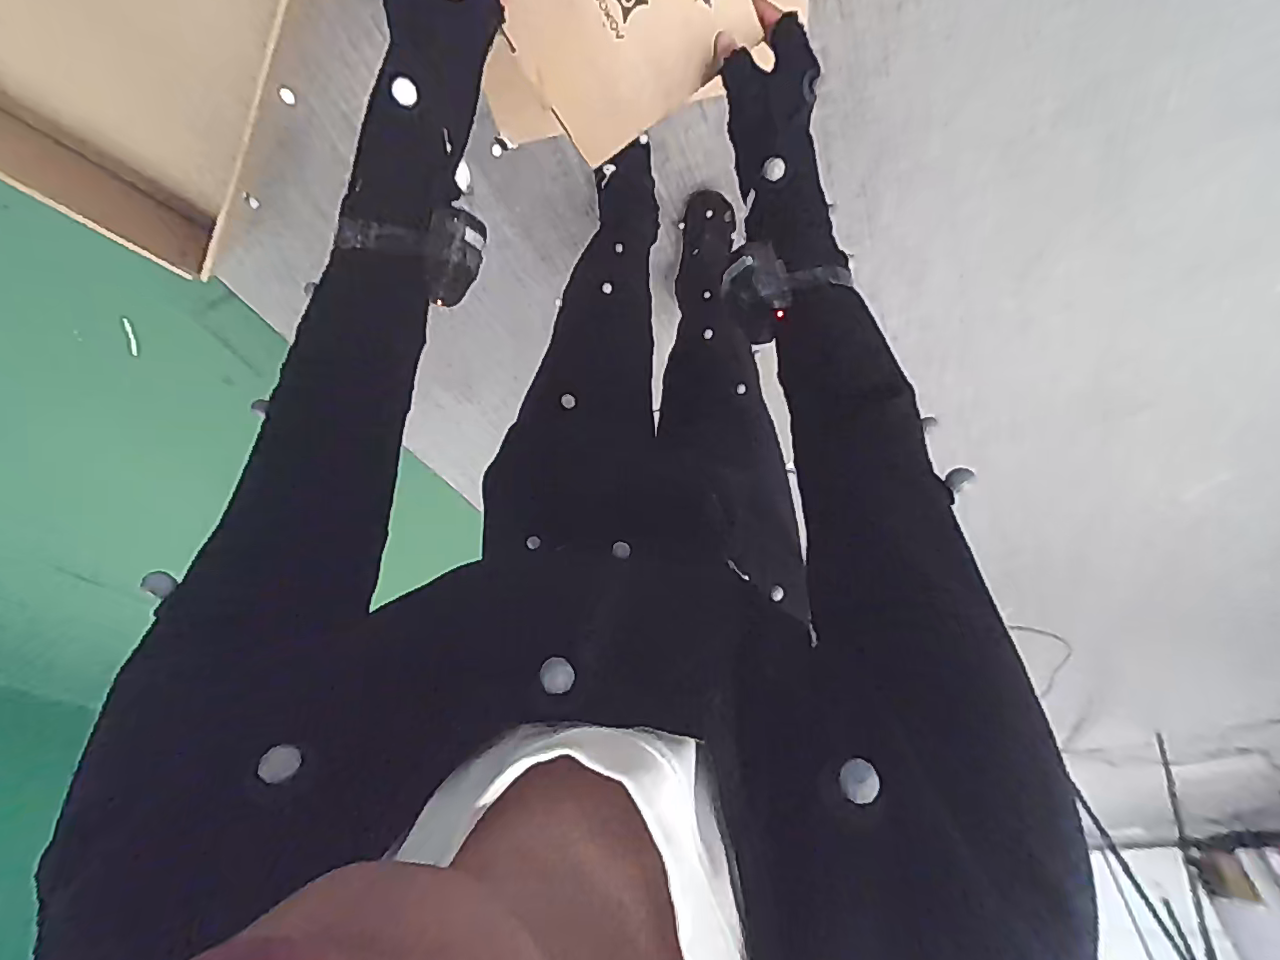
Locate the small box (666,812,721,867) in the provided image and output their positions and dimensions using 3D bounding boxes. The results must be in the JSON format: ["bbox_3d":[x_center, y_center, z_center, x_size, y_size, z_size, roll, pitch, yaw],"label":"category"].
[{"bbox_3d":[0.210,1.431,2.157,0.168,0.176,0.179,-18,138,22],"label":"small box"}]

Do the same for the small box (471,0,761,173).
[{"bbox_3d":[-0.018,-0.414,0.466,0.179,0.176,0.168,-26,131,24],"label":"small box"}]
